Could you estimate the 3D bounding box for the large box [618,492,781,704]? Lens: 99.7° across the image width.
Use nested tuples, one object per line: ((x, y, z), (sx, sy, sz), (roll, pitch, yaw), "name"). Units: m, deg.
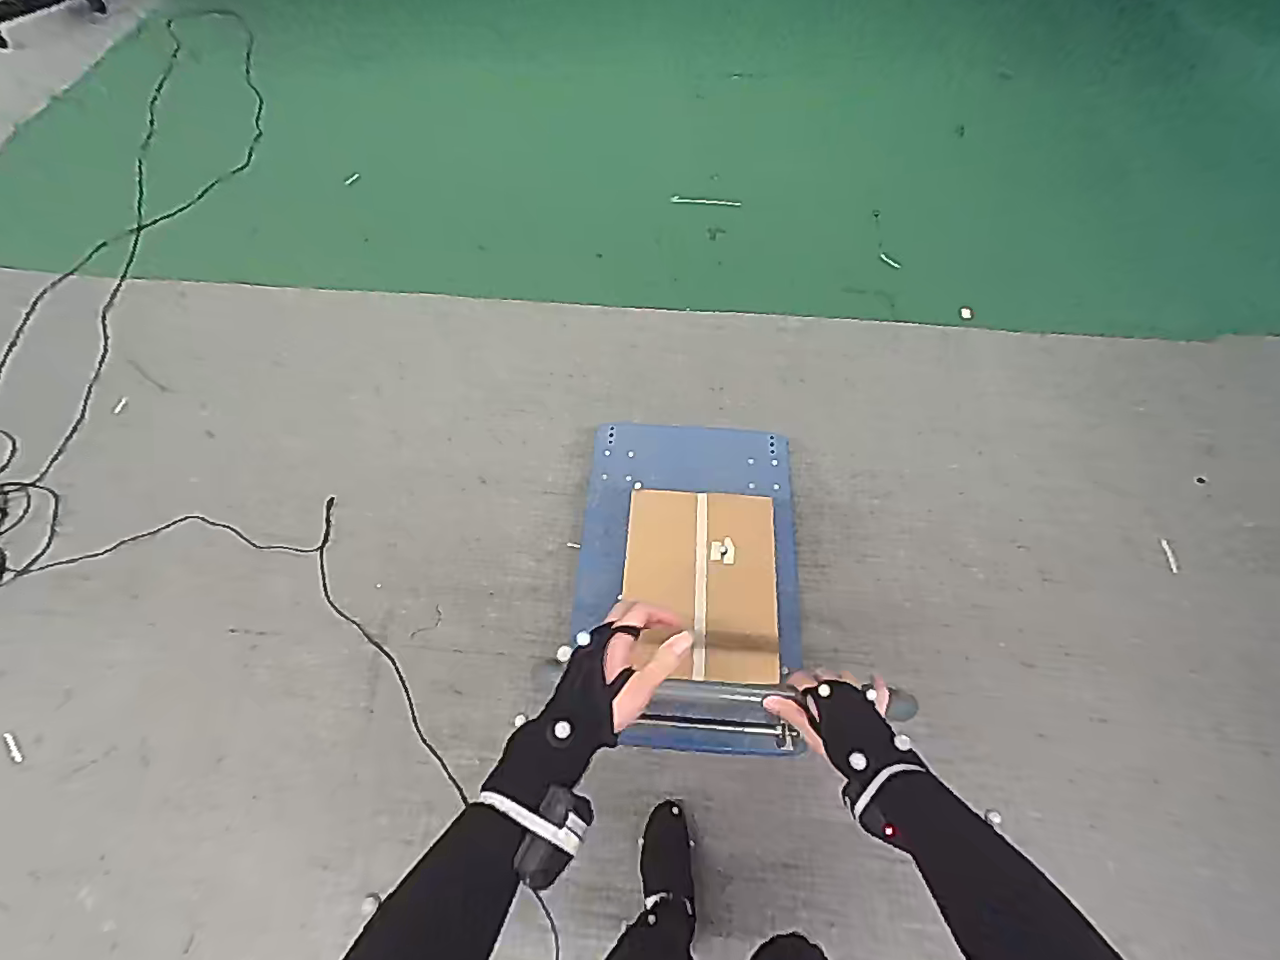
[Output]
((0.125, 0.278, 1.238), (0.320, 0.320, 0.408), (3, 61, 2), "large box")
